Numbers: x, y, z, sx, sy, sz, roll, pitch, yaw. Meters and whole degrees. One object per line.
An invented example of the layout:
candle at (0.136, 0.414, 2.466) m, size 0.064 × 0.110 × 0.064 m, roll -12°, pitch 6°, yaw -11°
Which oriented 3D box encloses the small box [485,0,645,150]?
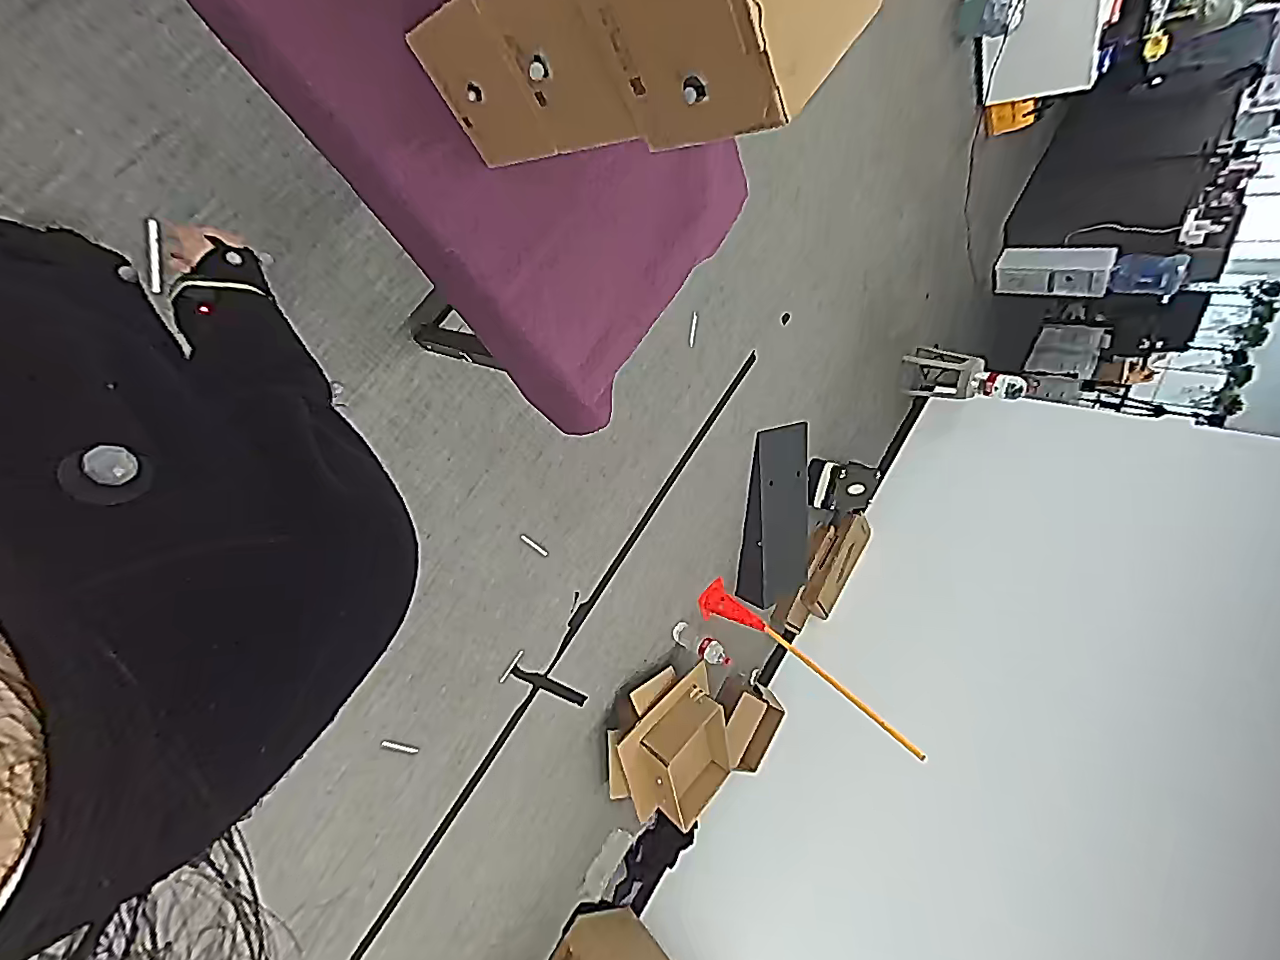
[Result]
small box at (-0.028, -0.487, 0.576) m, size 0.179 × 0.176 × 0.168 m, roll -53°, pitch 136°, yaw -16°

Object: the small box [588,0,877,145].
small box at (0.073, -0.423, 0.464) m, size 0.179 × 0.176 × 0.168 m, roll -56°, pitch 138°, yaw -14°

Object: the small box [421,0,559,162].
small box at (-0.146, -0.532, 0.681) m, size 0.179 × 0.176 × 0.168 m, roll -54°, pitch 137°, yaw -16°
